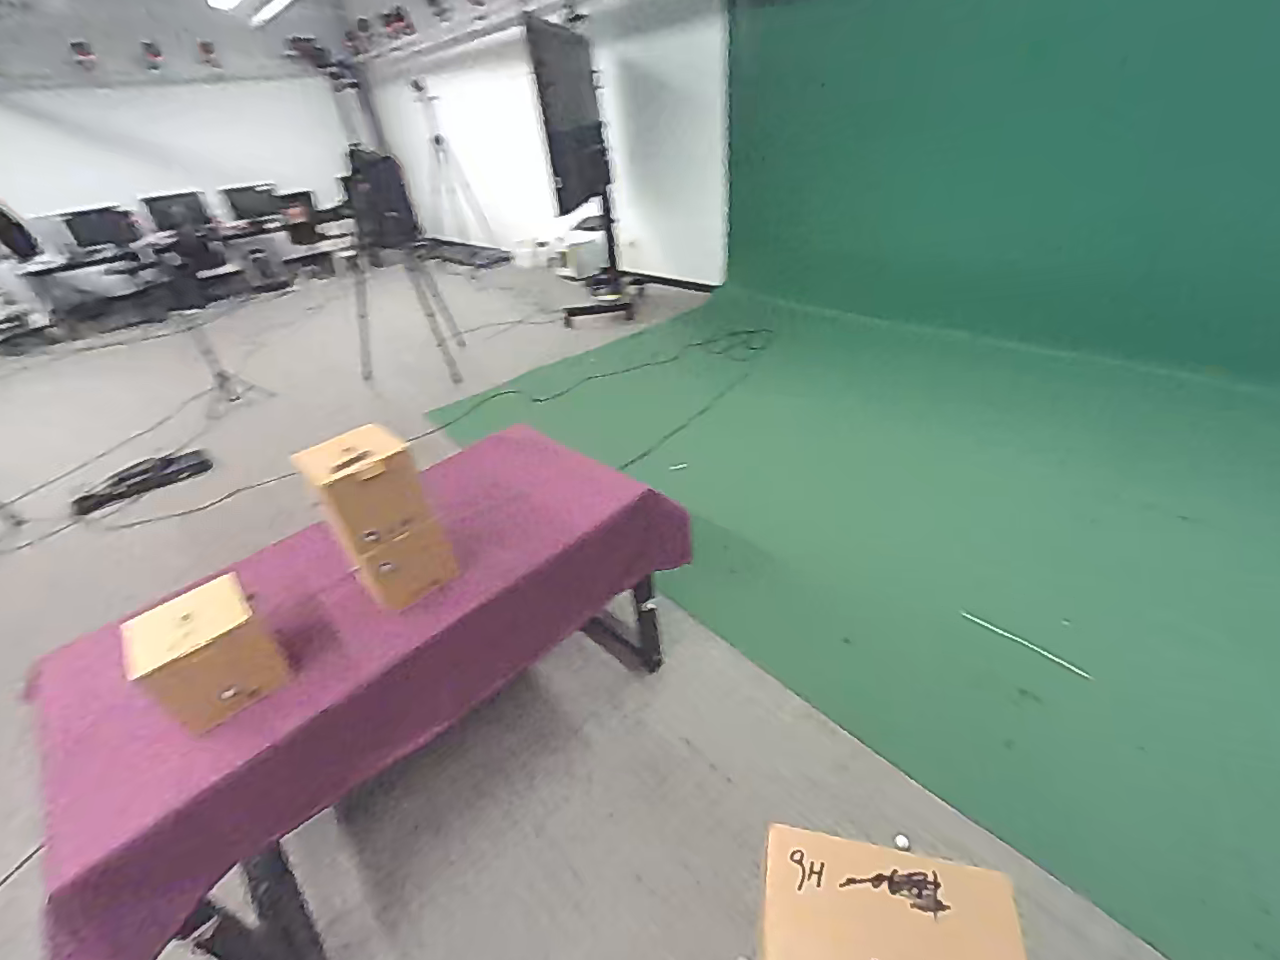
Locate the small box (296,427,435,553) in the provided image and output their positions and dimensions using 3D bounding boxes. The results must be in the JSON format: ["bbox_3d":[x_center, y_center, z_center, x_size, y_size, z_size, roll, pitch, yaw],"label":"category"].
[{"bbox_3d":[-0.538,0.022,1.075,0.179,0.176,0.168,24,44,40],"label":"small box"}]

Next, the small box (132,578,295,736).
[{"bbox_3d":[-0.762,0.317,0.973,0.168,0.176,0.179,-32,41,-32],"label":"small box"}]
